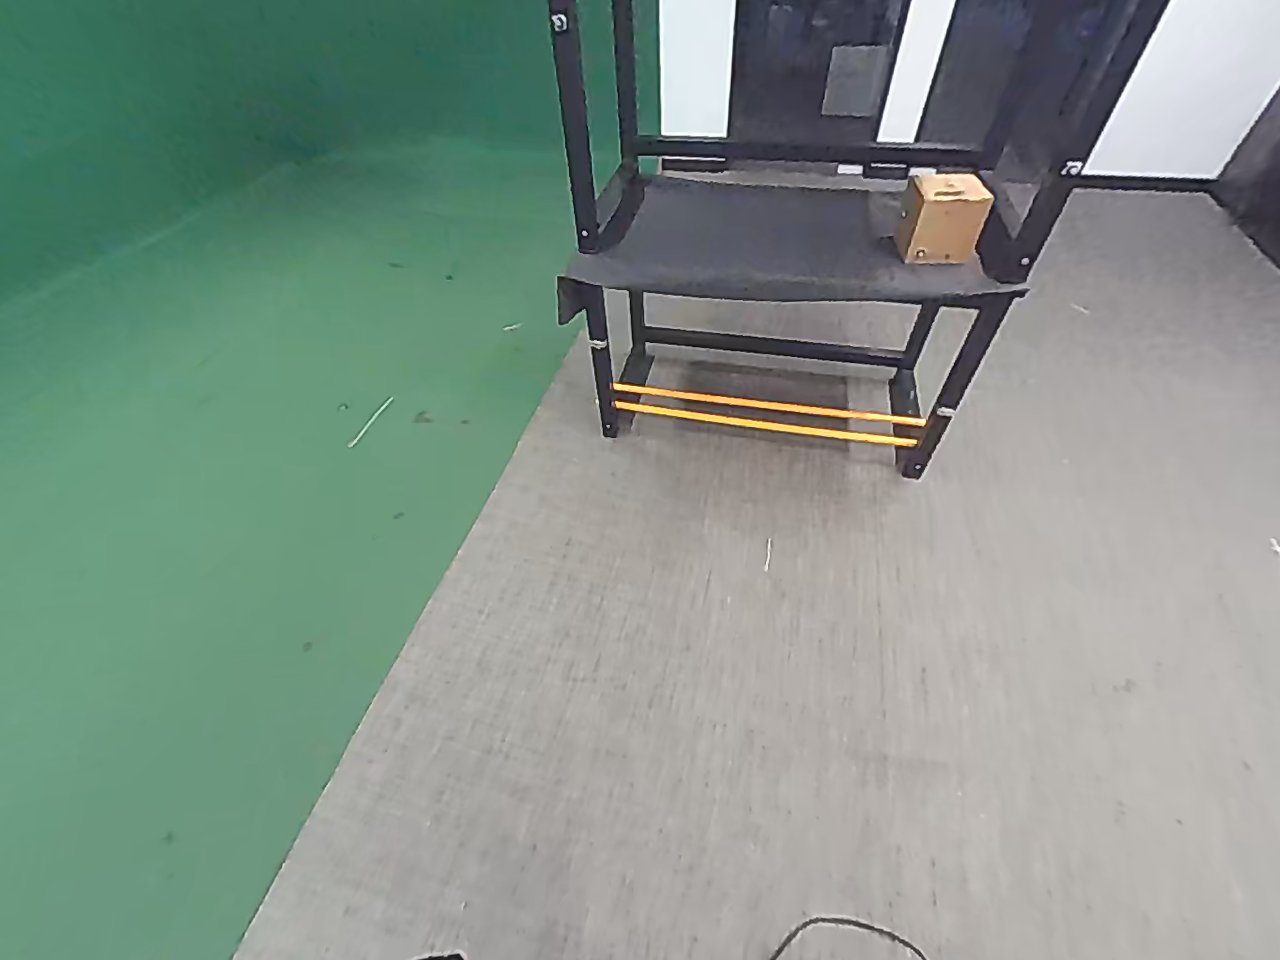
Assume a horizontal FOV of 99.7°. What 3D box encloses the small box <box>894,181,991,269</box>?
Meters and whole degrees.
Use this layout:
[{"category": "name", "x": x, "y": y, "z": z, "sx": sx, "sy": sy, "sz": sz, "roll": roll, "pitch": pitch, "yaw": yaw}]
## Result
[{"category": "small box", "x": 0.811, "y": -0.690, "z": 1.469, "sx": 0.168, "sy": 0.176, "sz": 0.179, "roll": 3, "pitch": 47, "yaw": 7}]
